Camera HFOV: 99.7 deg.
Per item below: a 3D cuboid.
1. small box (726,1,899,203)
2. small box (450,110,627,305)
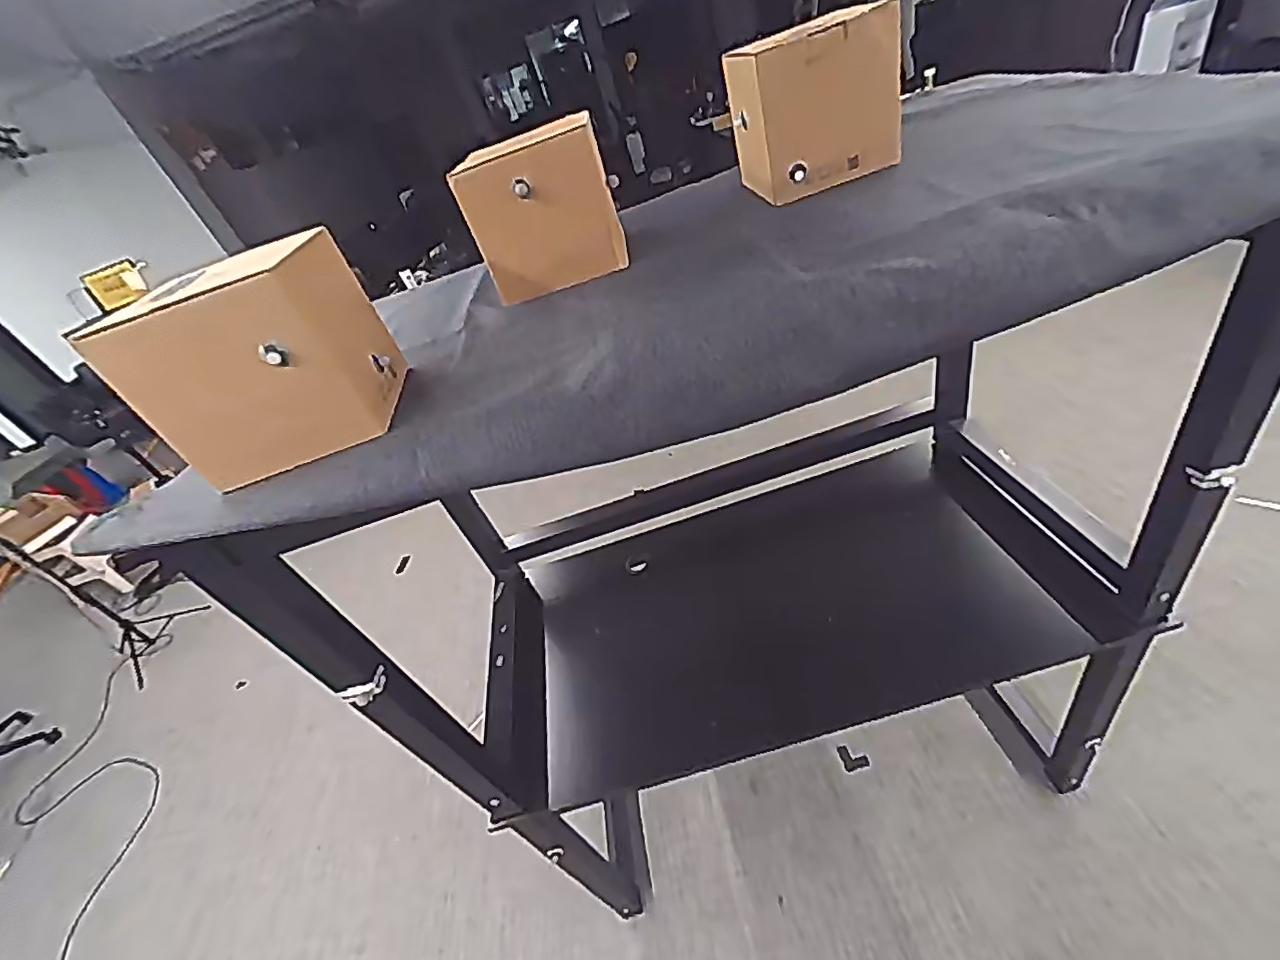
[{"bbox_3d":[0.225,-0.488,0.713,0.168,0.176,0.179,-16,37,6],"label":"small box"},{"bbox_3d":[-0.119,-0.361,0.723,0.179,0.176,0.168,-16,38,8],"label":"small box"}]
